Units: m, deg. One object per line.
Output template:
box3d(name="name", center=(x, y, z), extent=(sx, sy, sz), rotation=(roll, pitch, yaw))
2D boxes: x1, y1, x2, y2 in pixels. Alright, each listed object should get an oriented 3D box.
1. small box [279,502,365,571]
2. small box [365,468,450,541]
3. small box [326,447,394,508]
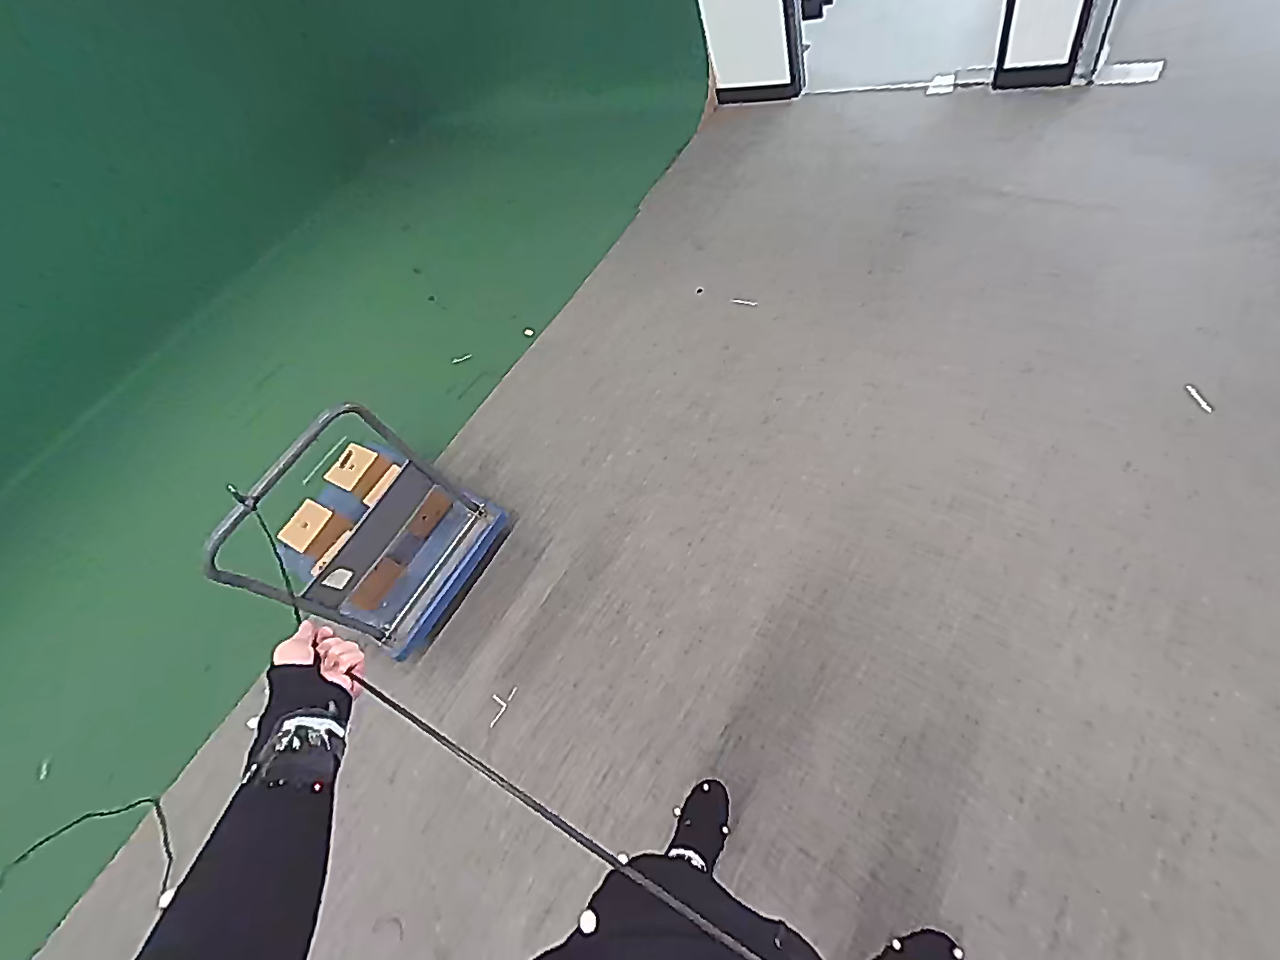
box3d(name="small box", center=(-1.136, 0.210, 1.943), extent=(0.179, 0.176, 0.168), rotation=(18, 67, 30))
box3d(name="small box", center=(-0.806, 0.090, 1.884), extent=(0.179, 0.176, 0.168), rotation=(24, 71, 31))
box3d(name="small box", center=(-1.019, 0.003, 2.026), extent=(0.179, 0.176, 0.168), rotation=(19, 69, 29))
